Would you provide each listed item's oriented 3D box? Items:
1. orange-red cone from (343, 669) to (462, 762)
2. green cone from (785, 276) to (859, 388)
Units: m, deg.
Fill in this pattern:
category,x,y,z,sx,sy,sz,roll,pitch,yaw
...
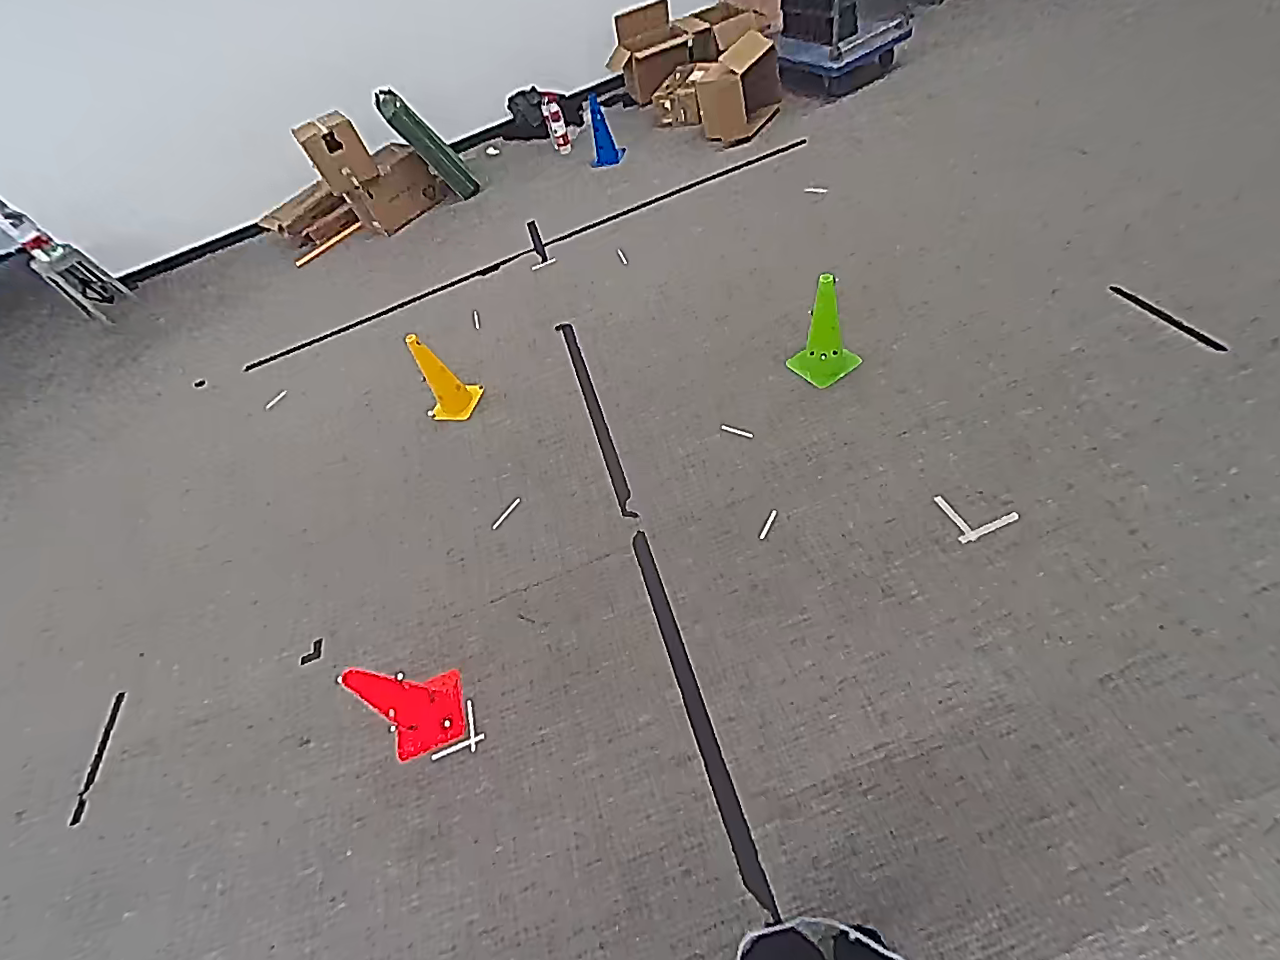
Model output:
category,x,y,z,sx,sy,sz,roll,pitch,yaw
orange-red cone,-0.638,0.564,1.394,0.198,0.360,0.199,-22,49,-1
green cone,0.621,-0.526,1.839,0.200,0.368,0.202,-35,52,-9
